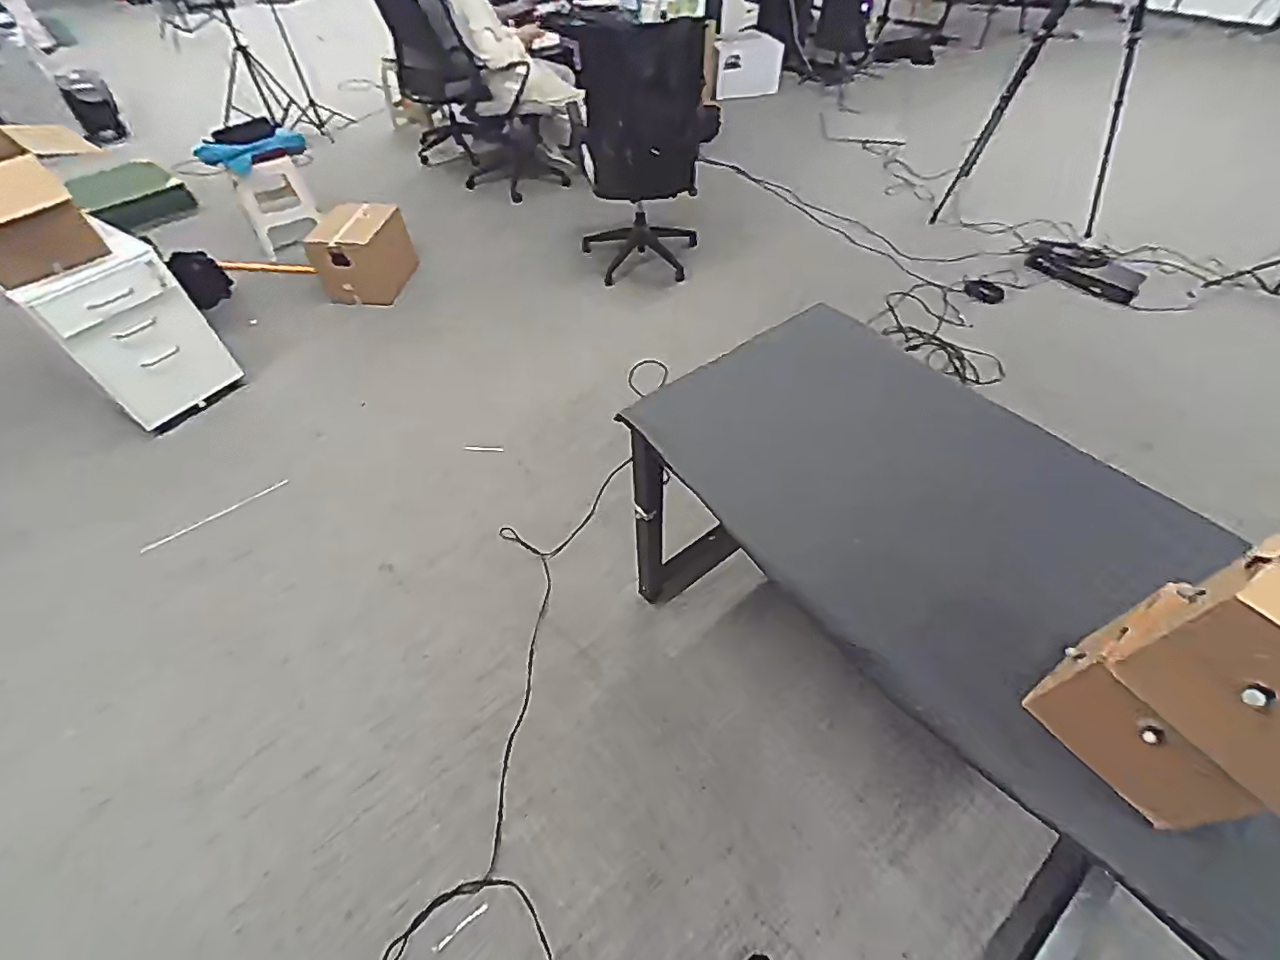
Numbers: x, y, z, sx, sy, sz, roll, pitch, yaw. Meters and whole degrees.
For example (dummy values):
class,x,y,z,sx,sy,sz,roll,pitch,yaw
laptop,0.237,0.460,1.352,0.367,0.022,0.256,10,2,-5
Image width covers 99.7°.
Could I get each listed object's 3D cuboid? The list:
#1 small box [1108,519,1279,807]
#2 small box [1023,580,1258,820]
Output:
class,x,y,z,sx,sy,sz,roll,pitch,yaw
small box,0.598,0.167,0.494,0.168,0.176,0.179,-25,53,-19
small box,0.606,0.258,0.632,0.168,0.176,0.179,-28,56,-21
